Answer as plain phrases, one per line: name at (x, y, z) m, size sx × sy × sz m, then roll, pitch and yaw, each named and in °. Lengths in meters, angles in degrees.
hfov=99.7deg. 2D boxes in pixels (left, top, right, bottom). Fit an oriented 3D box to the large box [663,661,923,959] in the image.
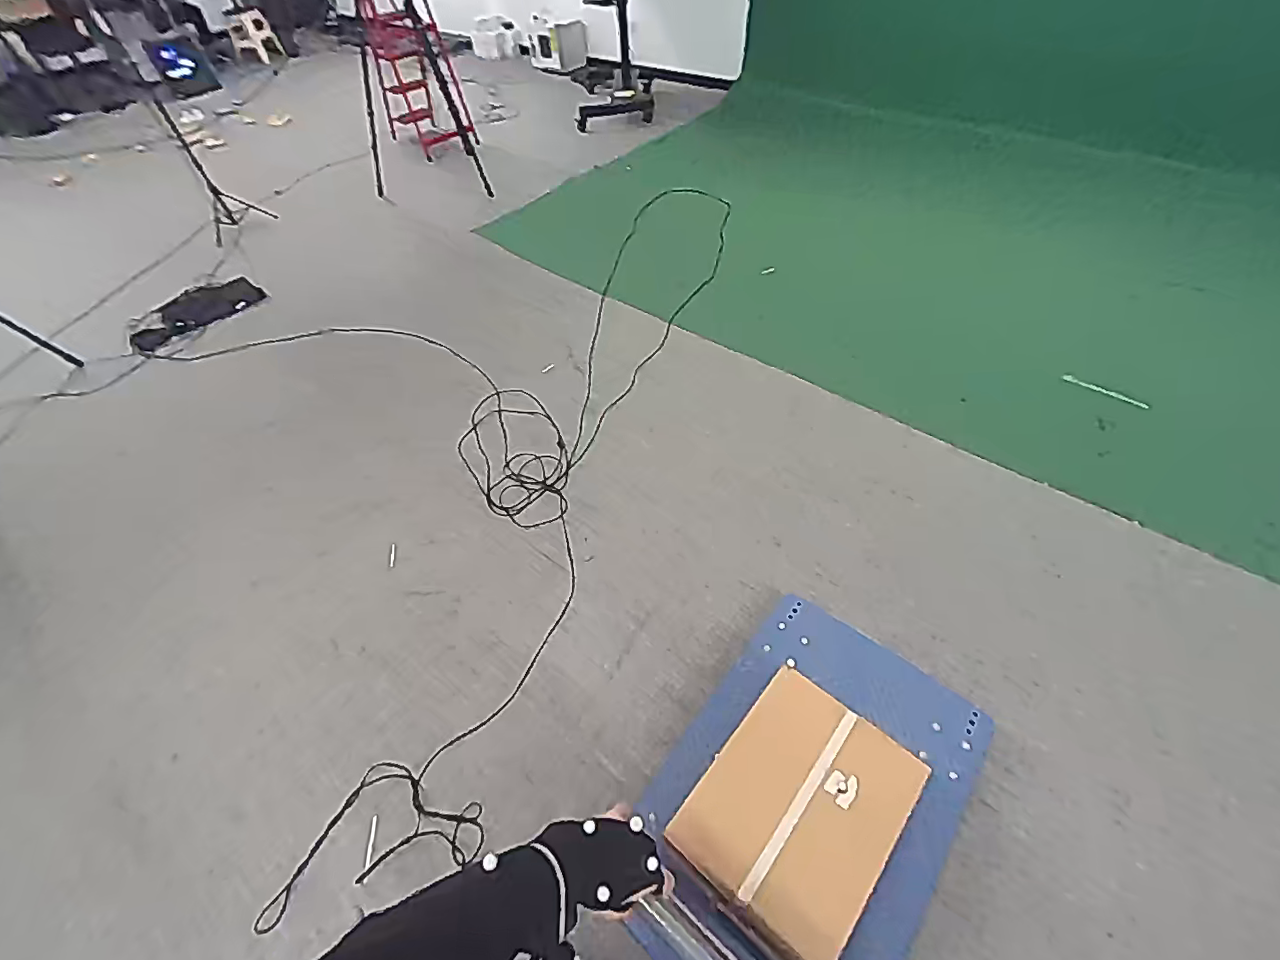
large box at (0.285, 0.663, 1.082) m, size 0.320 × 0.320 × 0.408 m, roll 34°, pitch 59°, yaw 26°
